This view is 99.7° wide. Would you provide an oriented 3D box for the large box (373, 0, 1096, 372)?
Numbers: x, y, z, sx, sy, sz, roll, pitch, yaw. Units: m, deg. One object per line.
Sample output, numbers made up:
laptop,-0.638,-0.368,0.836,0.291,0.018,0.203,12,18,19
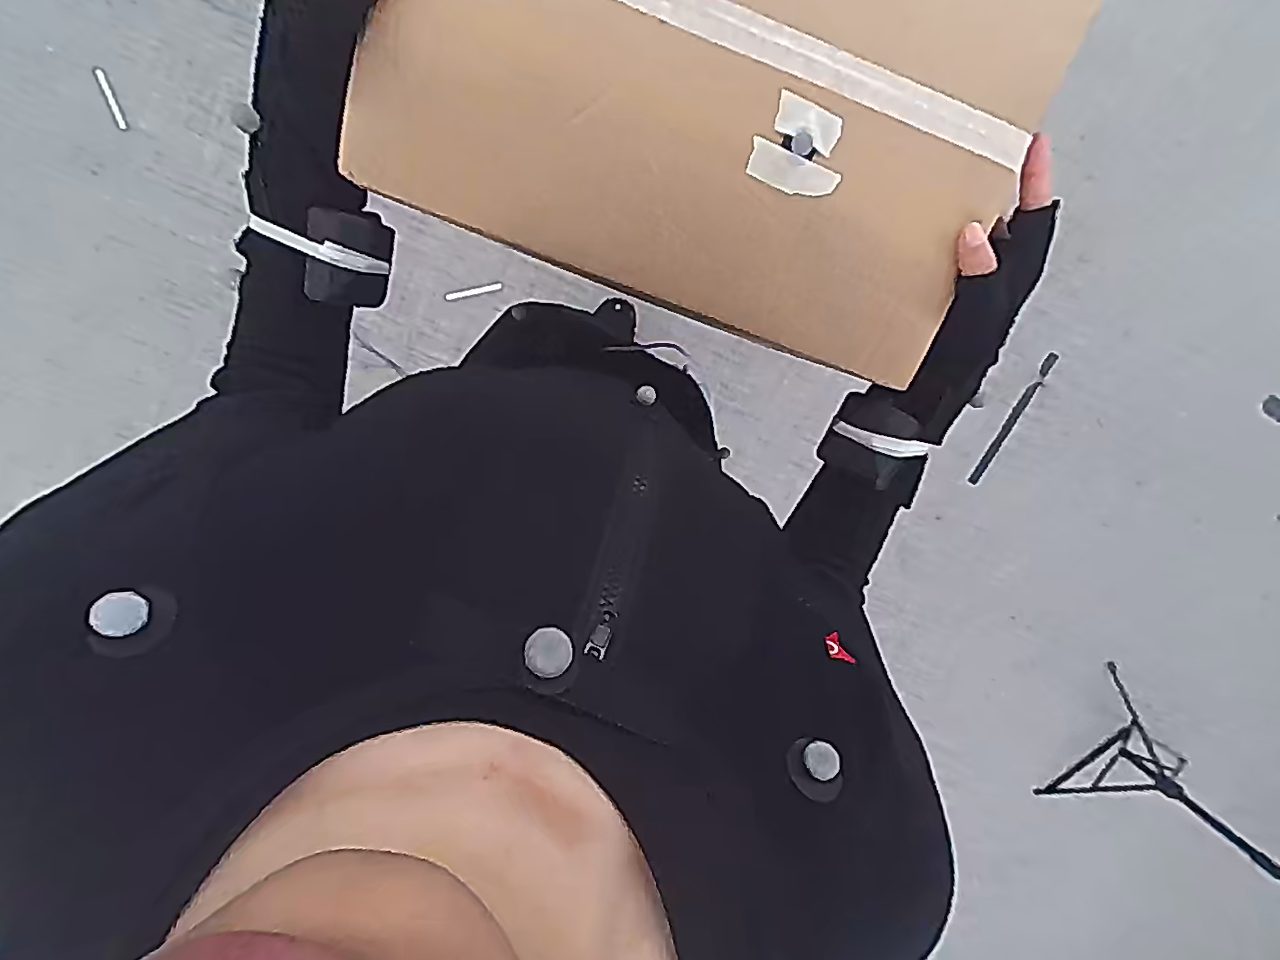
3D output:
large box,0.056,-0.323,0.473,0.408,0.320,0.320,19,108,-7
